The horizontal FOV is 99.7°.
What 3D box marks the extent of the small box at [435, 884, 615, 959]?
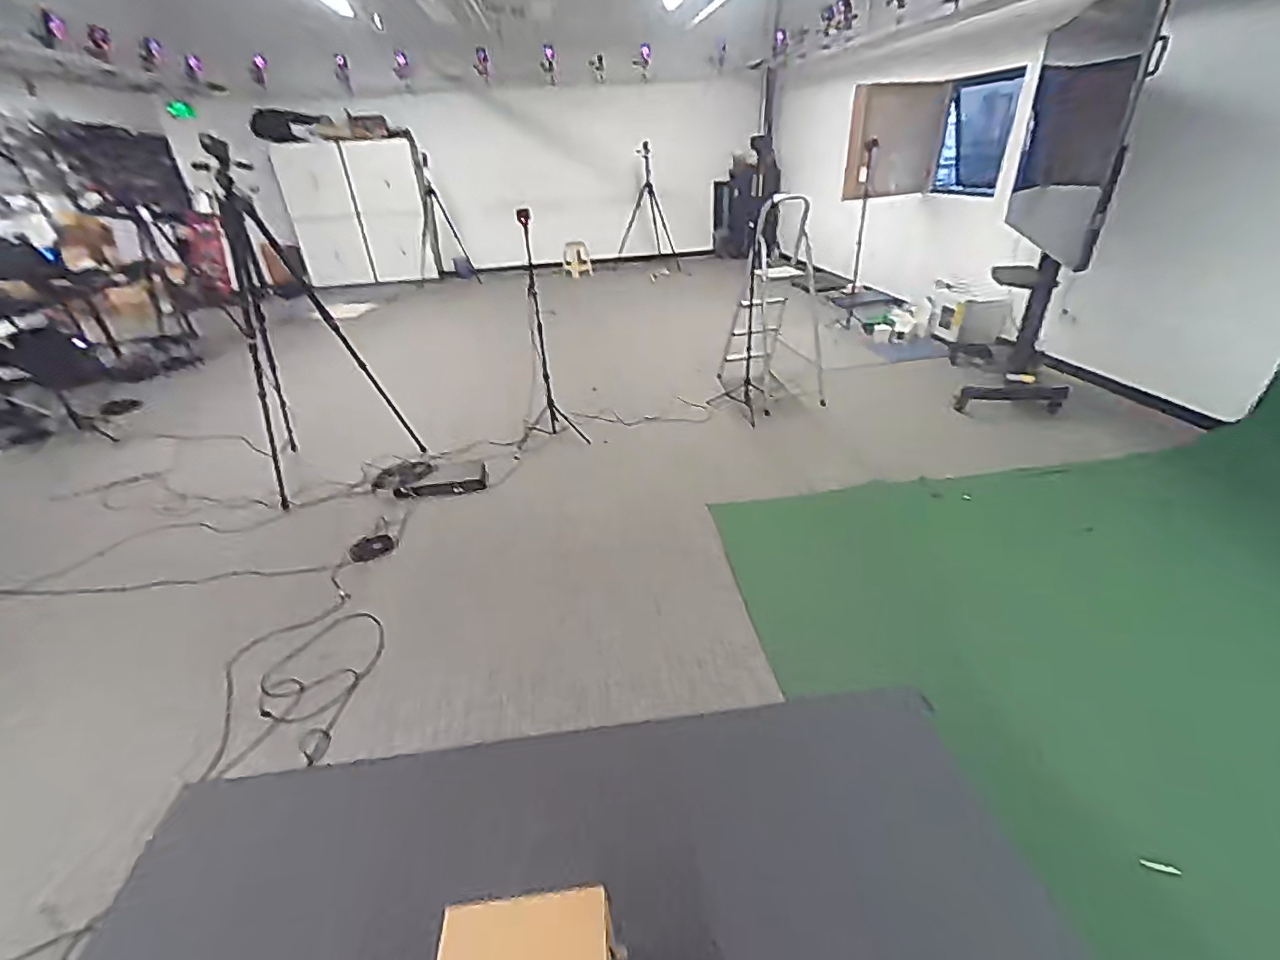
[{"bbox_3d":[-0.106,0.534,0.516,0.168,0.176,0.179,-6,29,-3],"label":"small box"}]
